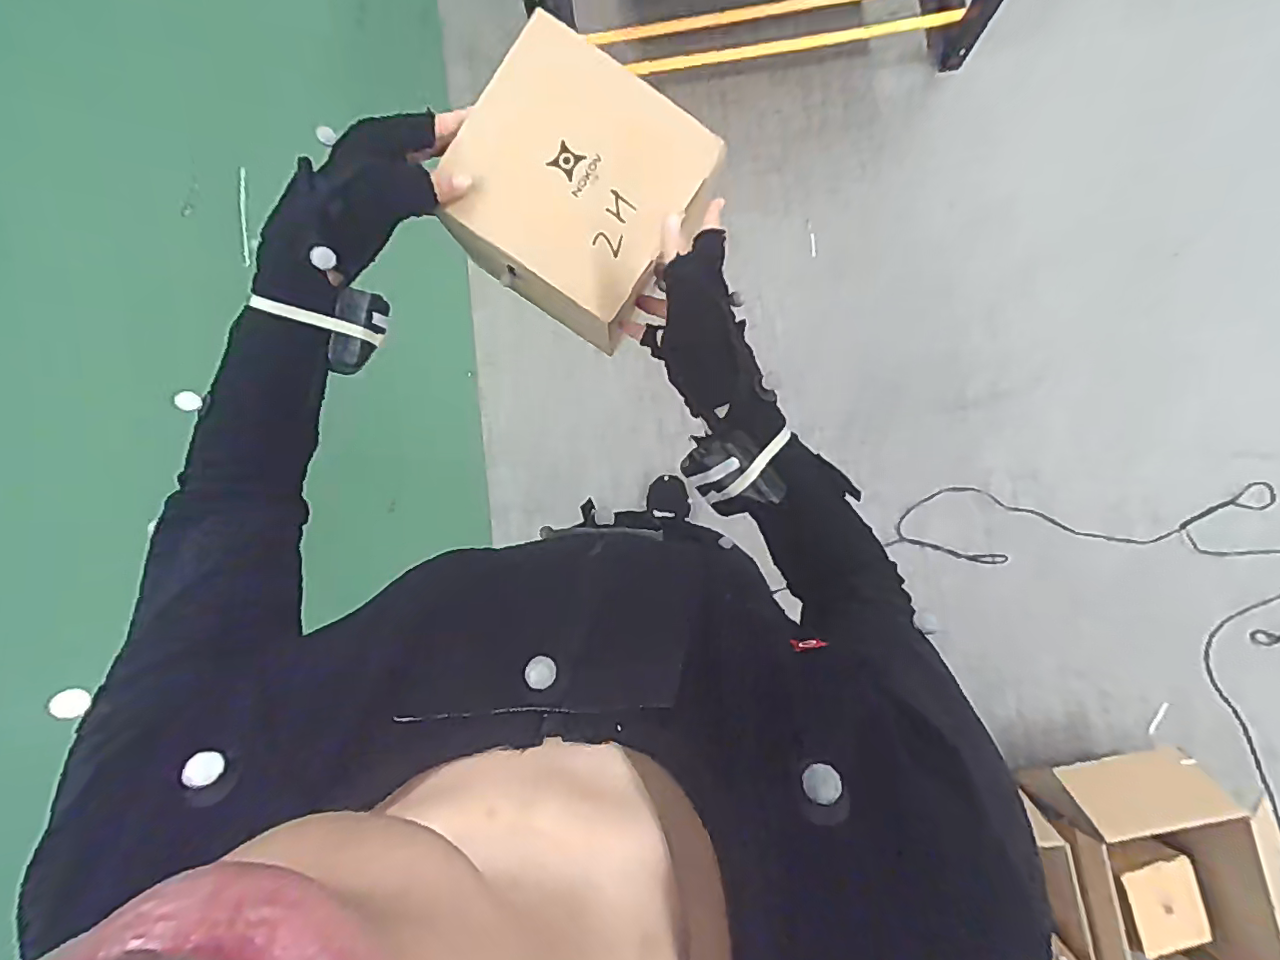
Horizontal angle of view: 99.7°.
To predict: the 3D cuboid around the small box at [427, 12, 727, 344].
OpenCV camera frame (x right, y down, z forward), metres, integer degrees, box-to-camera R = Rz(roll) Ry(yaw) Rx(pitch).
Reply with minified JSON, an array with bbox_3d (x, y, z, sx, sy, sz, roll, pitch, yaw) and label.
[{"bbox_3d":[-0.051,-0.244,0.493,0.179,0.176,0.168,34,93,-5],"label":"small box"}]
